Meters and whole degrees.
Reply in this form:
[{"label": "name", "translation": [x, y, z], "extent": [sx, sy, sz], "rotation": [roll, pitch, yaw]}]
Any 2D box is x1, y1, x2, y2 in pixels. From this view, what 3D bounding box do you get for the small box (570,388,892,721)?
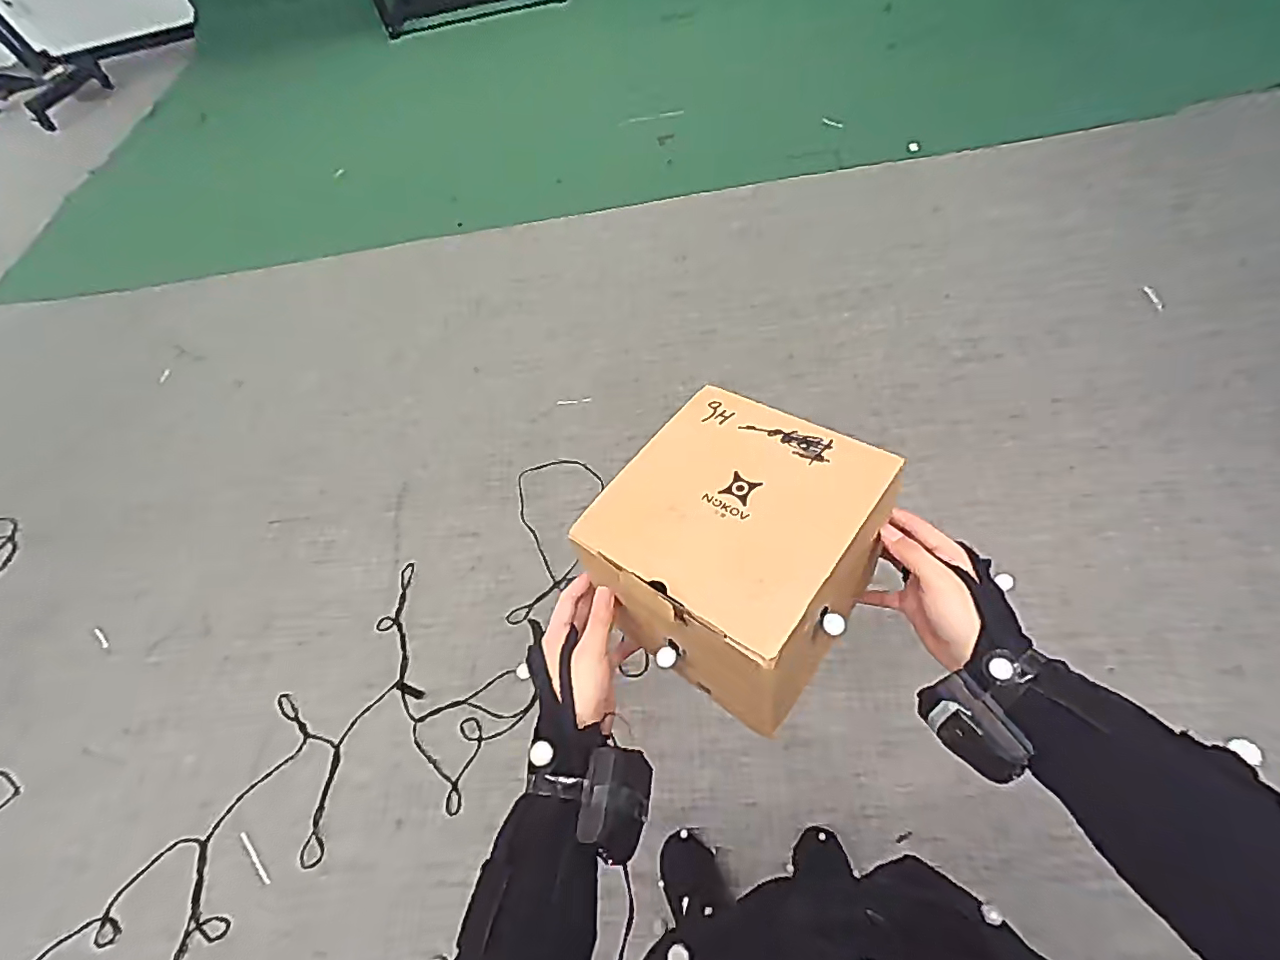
[{"label": "small box", "translation": [0.078, 0.062, 0.442], "extent": [0.168, 0.176, 0.179], "rotation": [29, 64, 31]}]
